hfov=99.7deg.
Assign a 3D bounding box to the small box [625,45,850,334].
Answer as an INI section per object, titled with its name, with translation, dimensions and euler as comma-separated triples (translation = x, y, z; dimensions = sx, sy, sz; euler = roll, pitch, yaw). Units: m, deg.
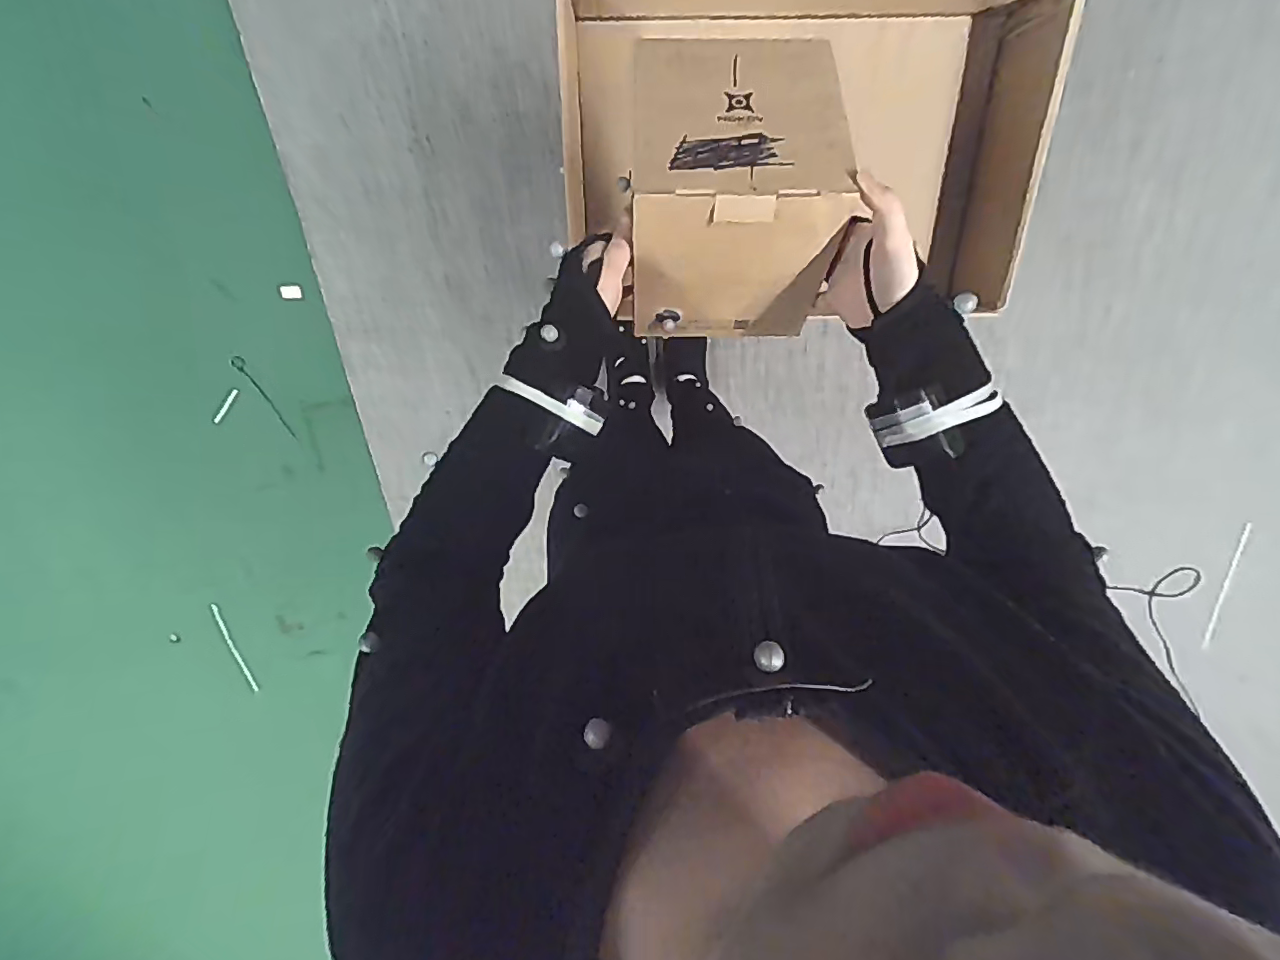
[small box]
translation = 0.071, -0.251, 0.494
dimensions = 0.168, 0.179, 0.176
euler = 0, 159, -1
